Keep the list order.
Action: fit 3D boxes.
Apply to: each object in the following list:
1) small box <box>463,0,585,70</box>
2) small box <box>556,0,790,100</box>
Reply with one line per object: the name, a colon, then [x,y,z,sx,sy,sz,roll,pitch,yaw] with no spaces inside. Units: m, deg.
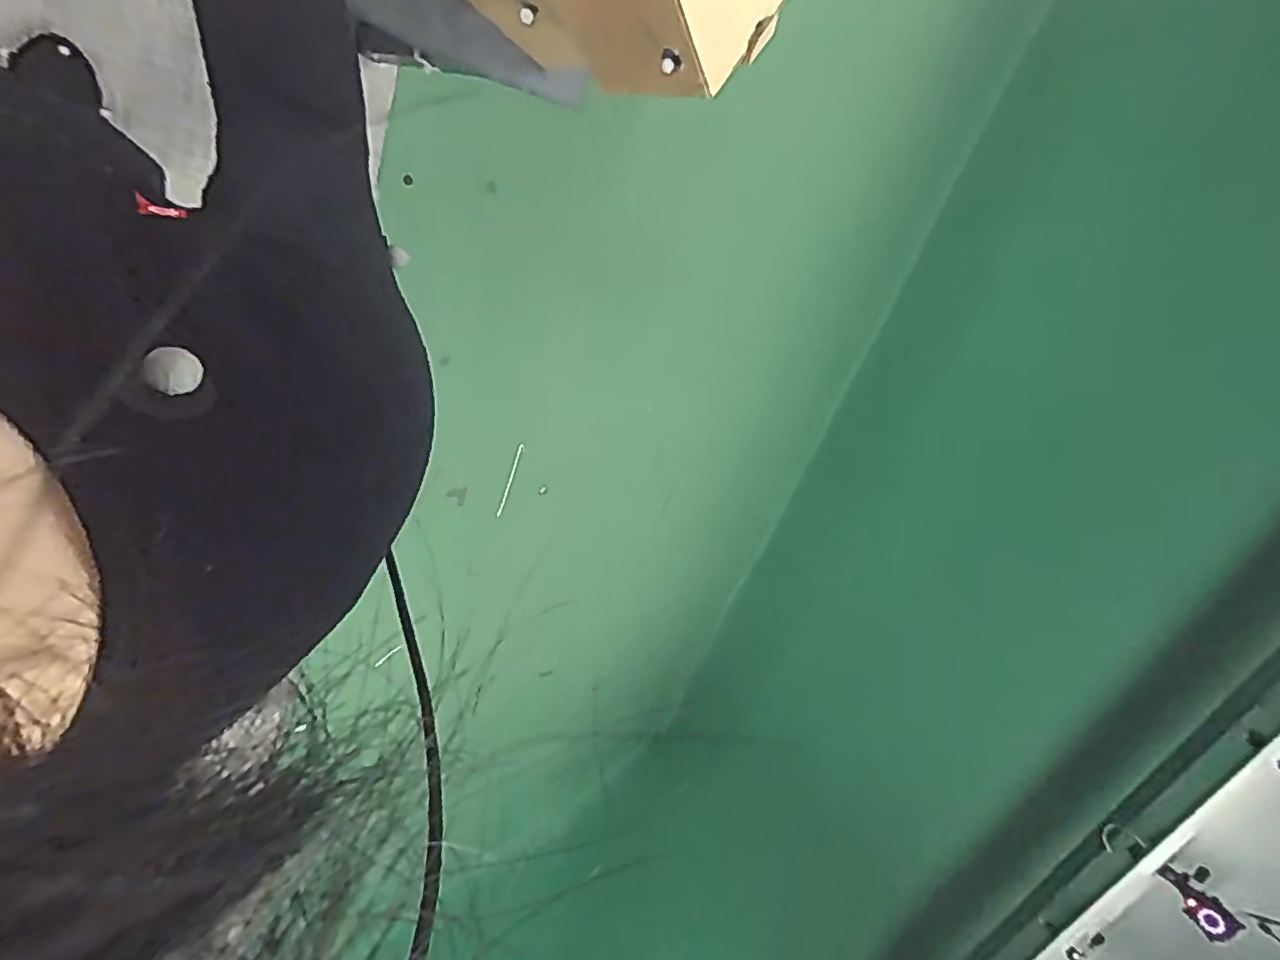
small box: [-0.087,-0.572,0.576,0.179,0.176,0.168,6,112,-50]
small box: [0.021,-0.484,0.488,0.168,0.176,0.179,-54,145,-4]
